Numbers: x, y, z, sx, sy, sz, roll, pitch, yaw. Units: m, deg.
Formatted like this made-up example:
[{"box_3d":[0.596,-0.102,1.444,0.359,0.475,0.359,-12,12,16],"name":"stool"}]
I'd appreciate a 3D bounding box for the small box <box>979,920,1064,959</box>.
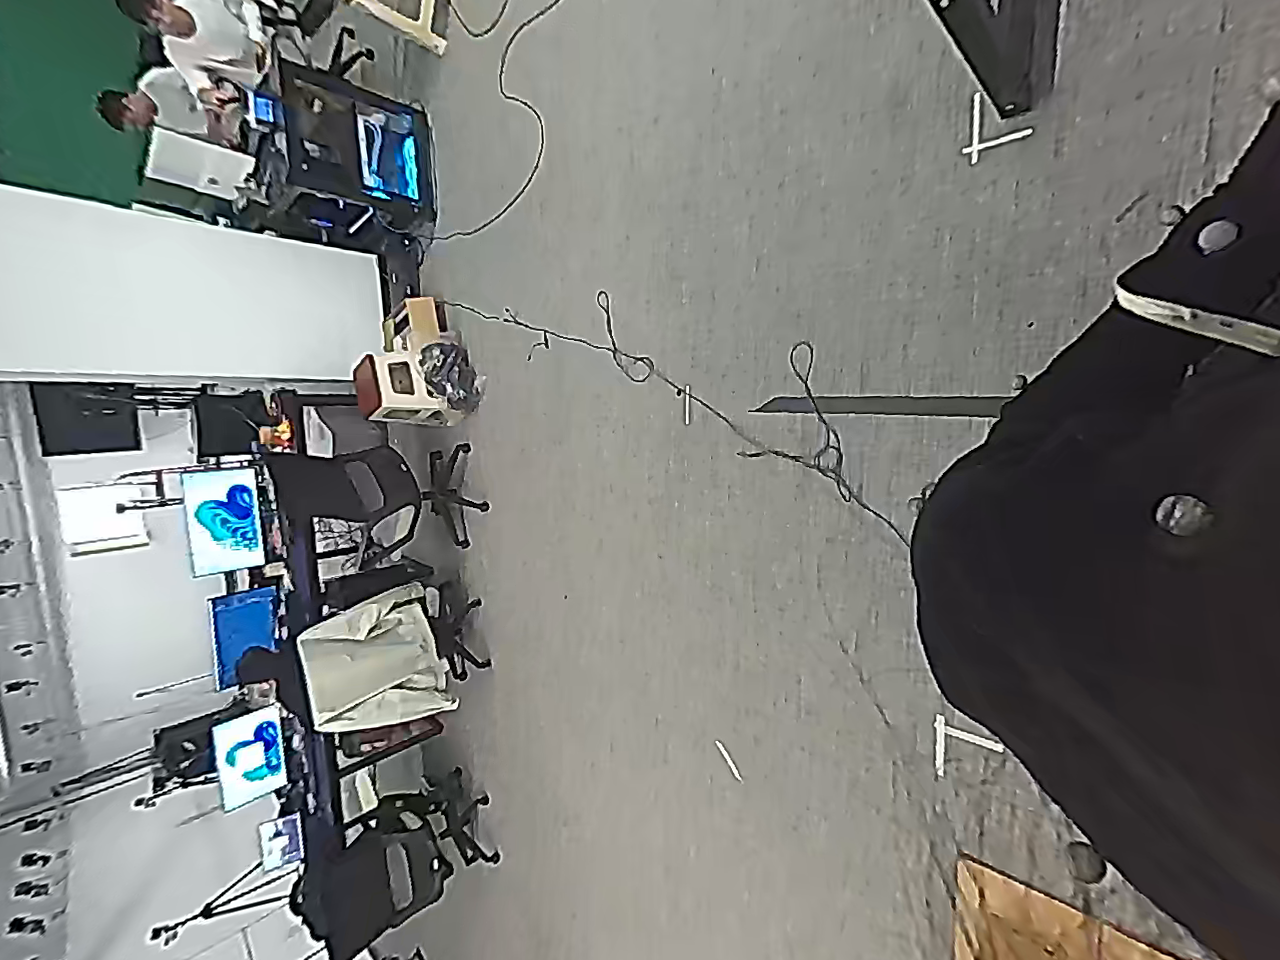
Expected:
[{"box_3d":[0.921,1.227,1.298,0.168,0.176,0.179,0,97,45],"name":"small box"}]
